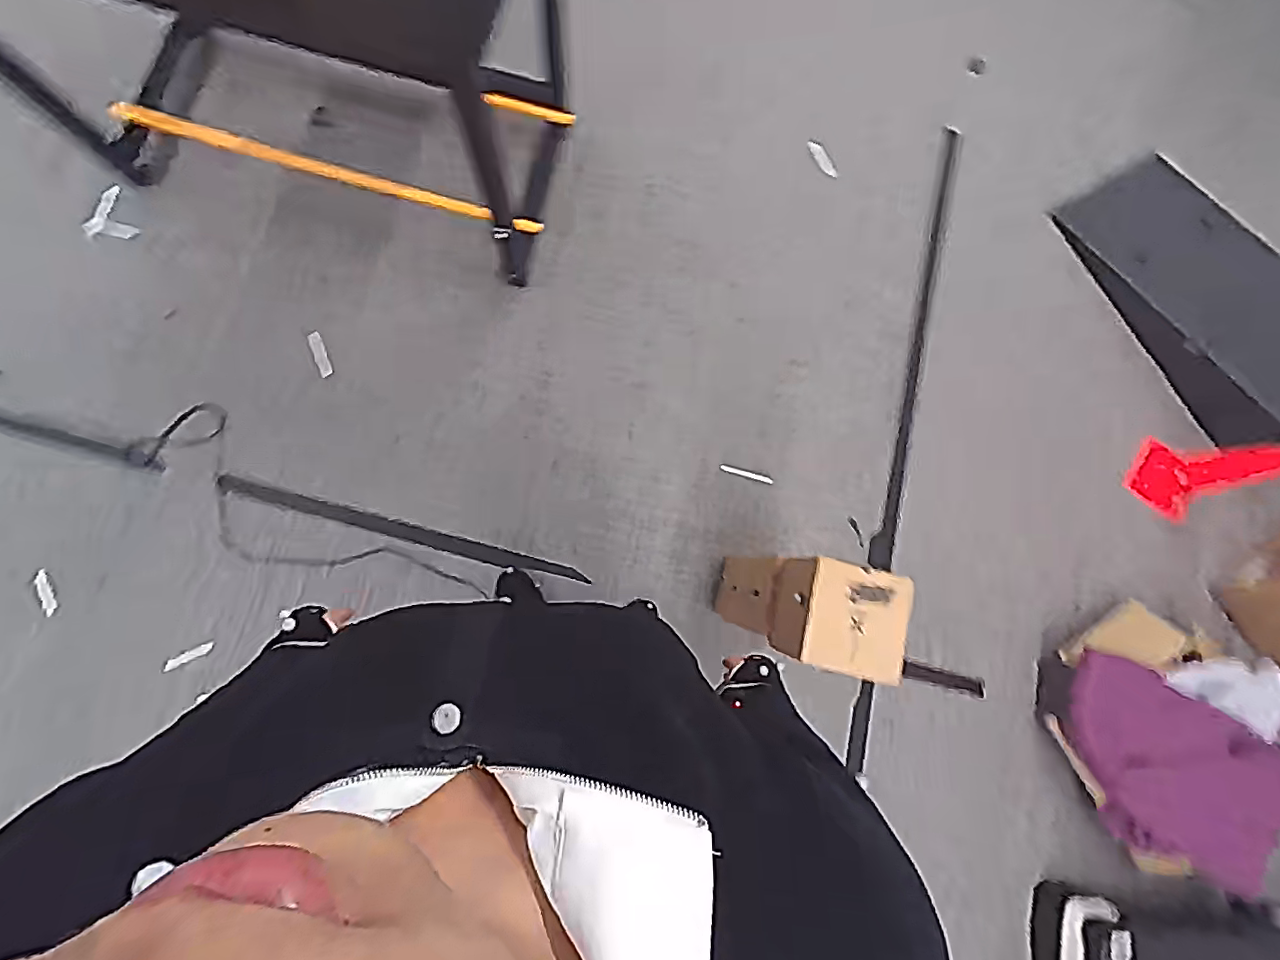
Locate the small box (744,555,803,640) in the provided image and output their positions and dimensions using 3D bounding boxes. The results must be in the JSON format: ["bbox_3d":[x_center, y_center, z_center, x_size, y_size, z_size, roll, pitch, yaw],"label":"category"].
[{"bbox_3d":[0.331,0.261,1.121,0.179,0.176,0.168,16,80,-1],"label":"small box"}]

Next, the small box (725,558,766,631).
[{"bbox_3d":[0.320,0.287,1.282,0.179,0.176,0.168,16,79,-2],"label":"small box"}]

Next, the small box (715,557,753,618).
[{"bbox_3d":[0.317,0.308,1.446,0.179,0.176,0.168,15,80,-1],"label":"small box"}]

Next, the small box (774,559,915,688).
[{"bbox_3d":[0.352,0.245,0.957,0.168,0.176,0.179,15,80,-2],"label":"small box"}]
